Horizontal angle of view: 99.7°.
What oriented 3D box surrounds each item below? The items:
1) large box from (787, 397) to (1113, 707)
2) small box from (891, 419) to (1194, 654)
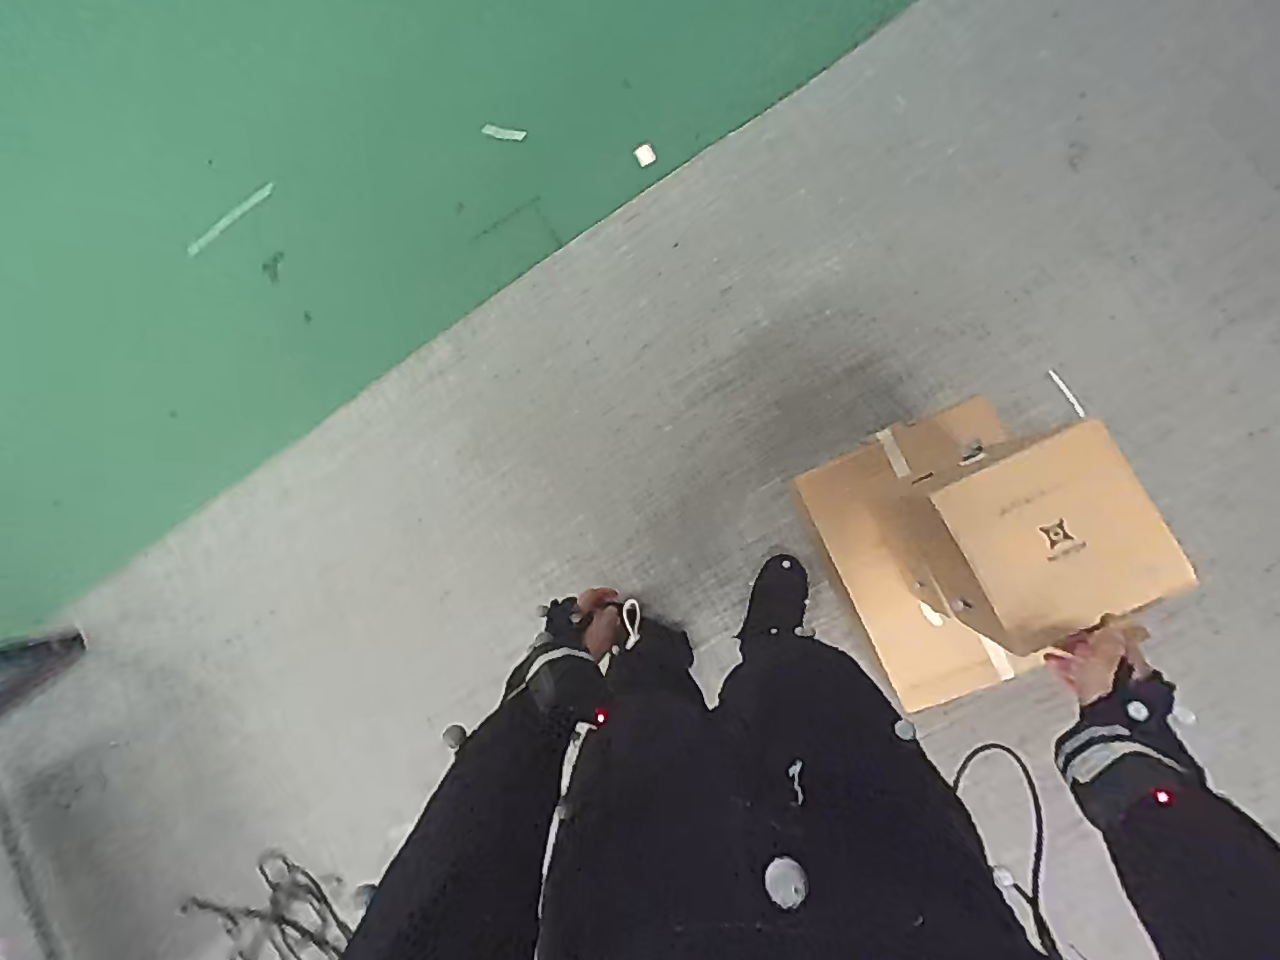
[{"bbox_3d":[0.500,0.115,0.976,0.320,0.320,0.408,-25,84,11],"label":"large box"},{"bbox_3d":[0.404,0.056,0.582,0.168,0.176,0.179,-28,82,10],"label":"small box"}]
